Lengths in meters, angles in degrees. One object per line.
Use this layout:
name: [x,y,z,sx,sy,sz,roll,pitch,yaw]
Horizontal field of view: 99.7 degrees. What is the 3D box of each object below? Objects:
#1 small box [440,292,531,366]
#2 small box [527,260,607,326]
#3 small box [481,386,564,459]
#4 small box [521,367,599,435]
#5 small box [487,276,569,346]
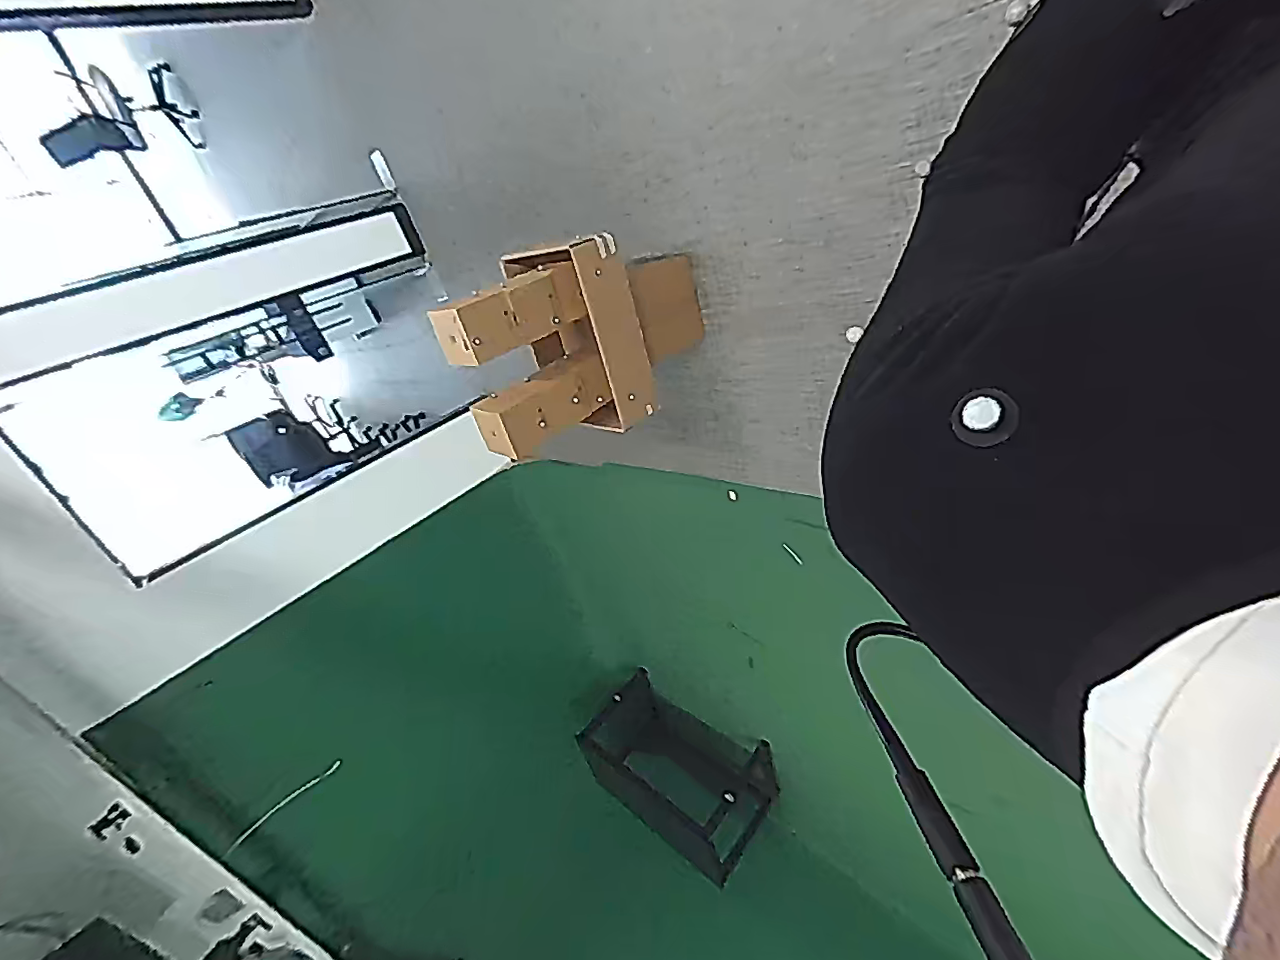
small box: [-0.455,-0.450,1.609,0.179,0.176,0.168,13,130,44]
small box: [-0.237,-0.619,1.788,0.179,0.176,0.168,14,131,43]
small box: [-0.376,-0.193,1.753,0.179,0.176,0.168,17,134,43]
small box: [-0.268,-0.275,1.842,0.179,0.176,0.168,17,134,42]
small box: [-0.342,-0.532,1.695,0.179,0.176,0.168,16,132,42]
